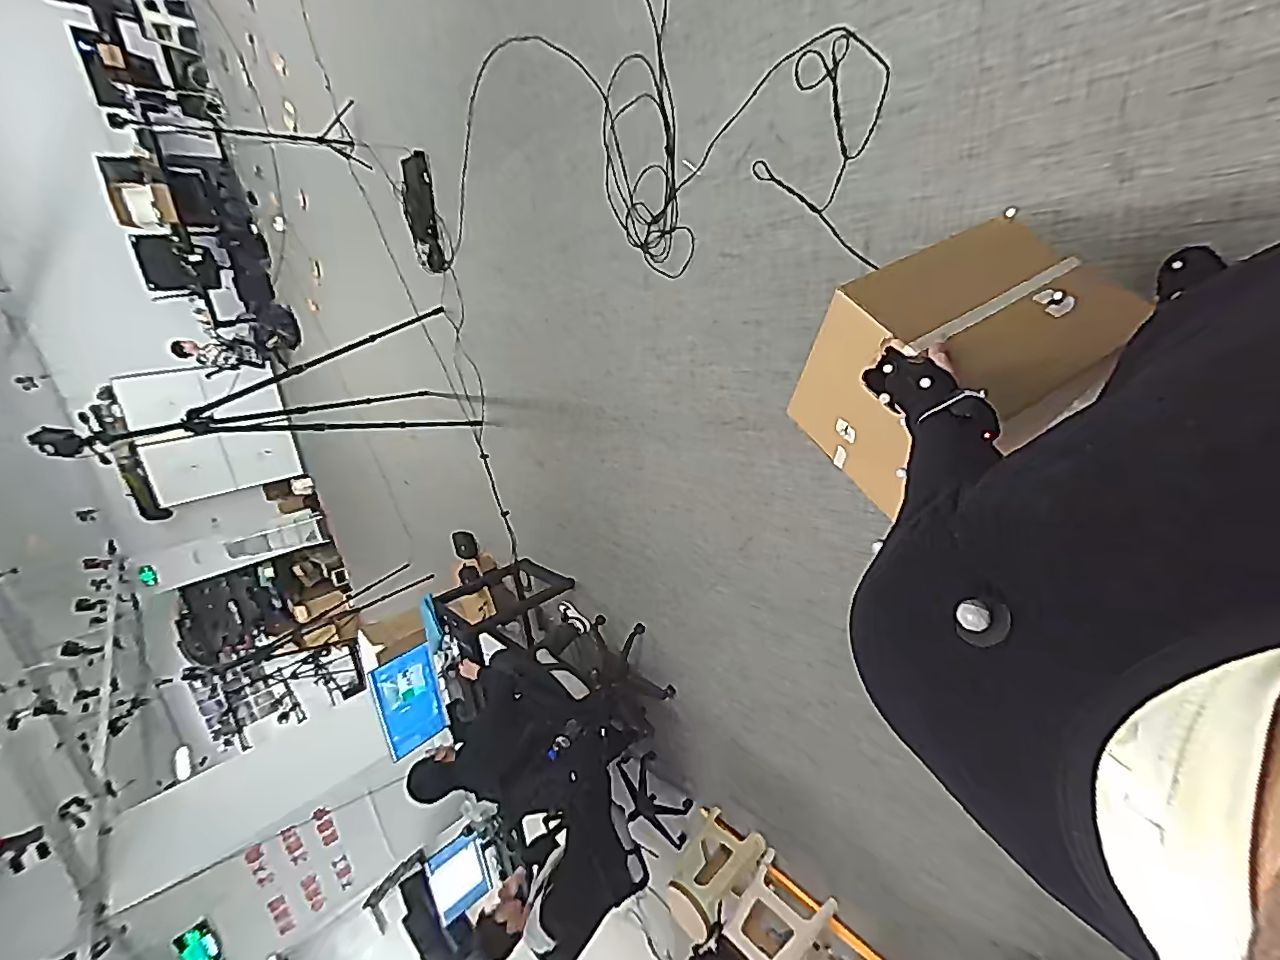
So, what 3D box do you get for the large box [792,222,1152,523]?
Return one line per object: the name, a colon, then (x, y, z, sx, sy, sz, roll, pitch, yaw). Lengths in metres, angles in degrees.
large box: (0.553, -0.192, 0.973, 0.320, 0.408, 0.320, 54, 159, 25)
